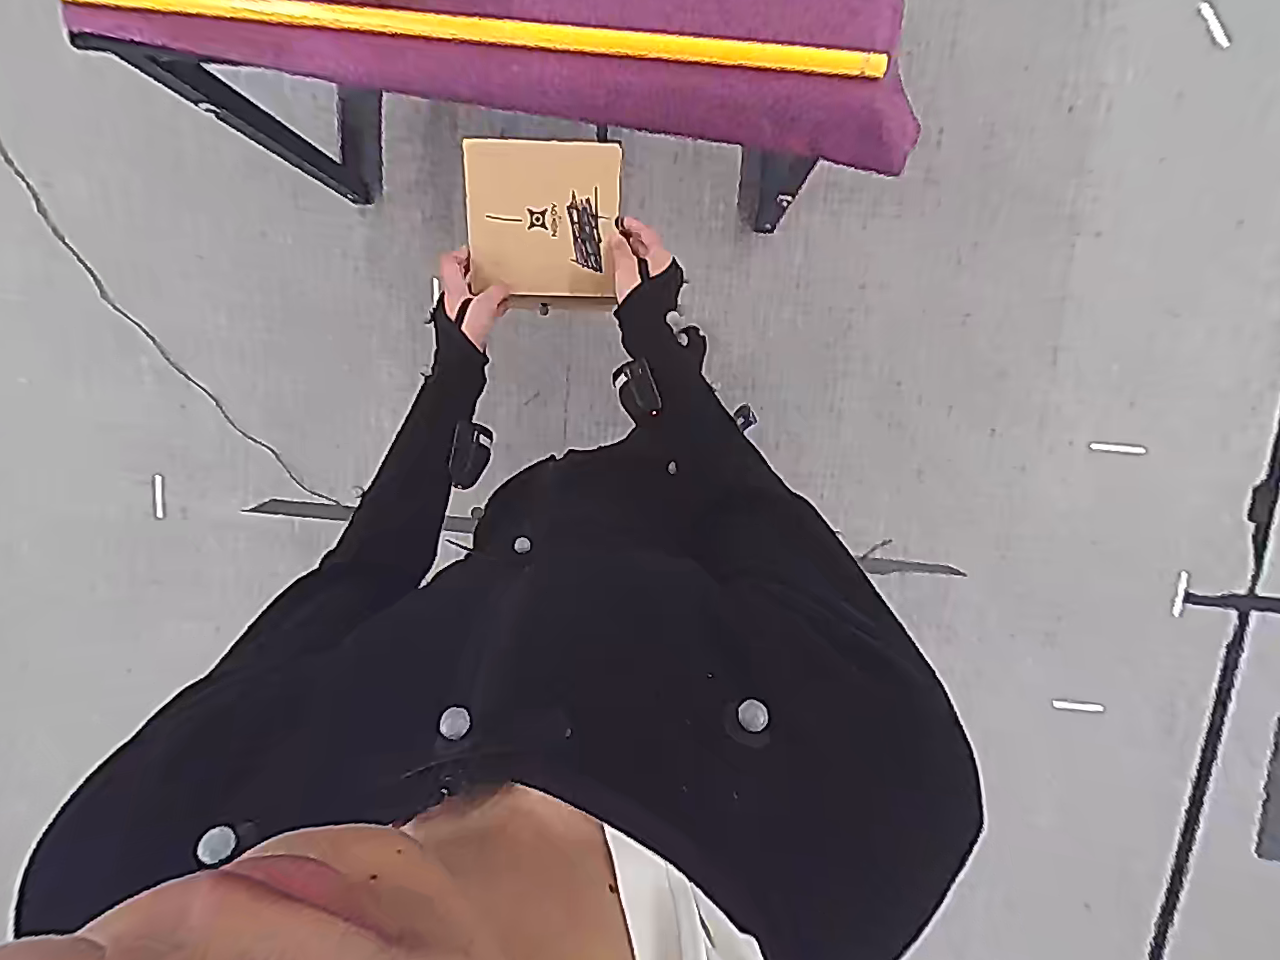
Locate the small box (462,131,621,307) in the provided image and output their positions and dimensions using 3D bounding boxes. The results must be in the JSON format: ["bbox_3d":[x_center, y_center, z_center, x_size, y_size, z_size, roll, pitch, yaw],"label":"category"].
[{"bbox_3d":[-0.118,-0.317,0.691,0.179,0.176,0.168,0,102,-6],"label":"small box"}]
